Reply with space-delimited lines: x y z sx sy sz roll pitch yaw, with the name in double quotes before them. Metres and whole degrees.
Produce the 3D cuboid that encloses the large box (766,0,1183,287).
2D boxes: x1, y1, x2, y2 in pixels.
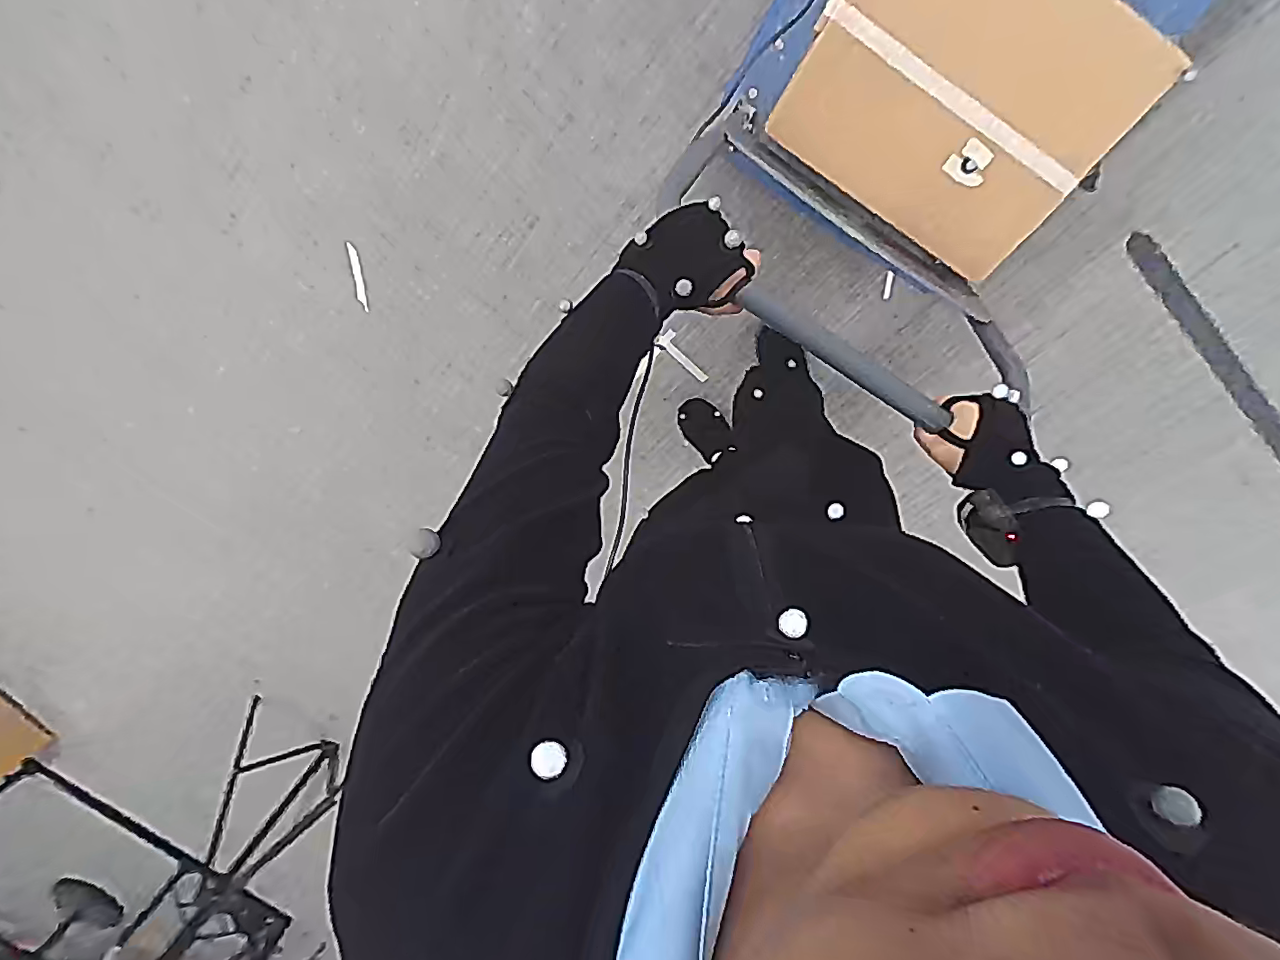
"large box" 0.447 -0.574 0.834 0.408 0.320 0.320 31 127 -8
